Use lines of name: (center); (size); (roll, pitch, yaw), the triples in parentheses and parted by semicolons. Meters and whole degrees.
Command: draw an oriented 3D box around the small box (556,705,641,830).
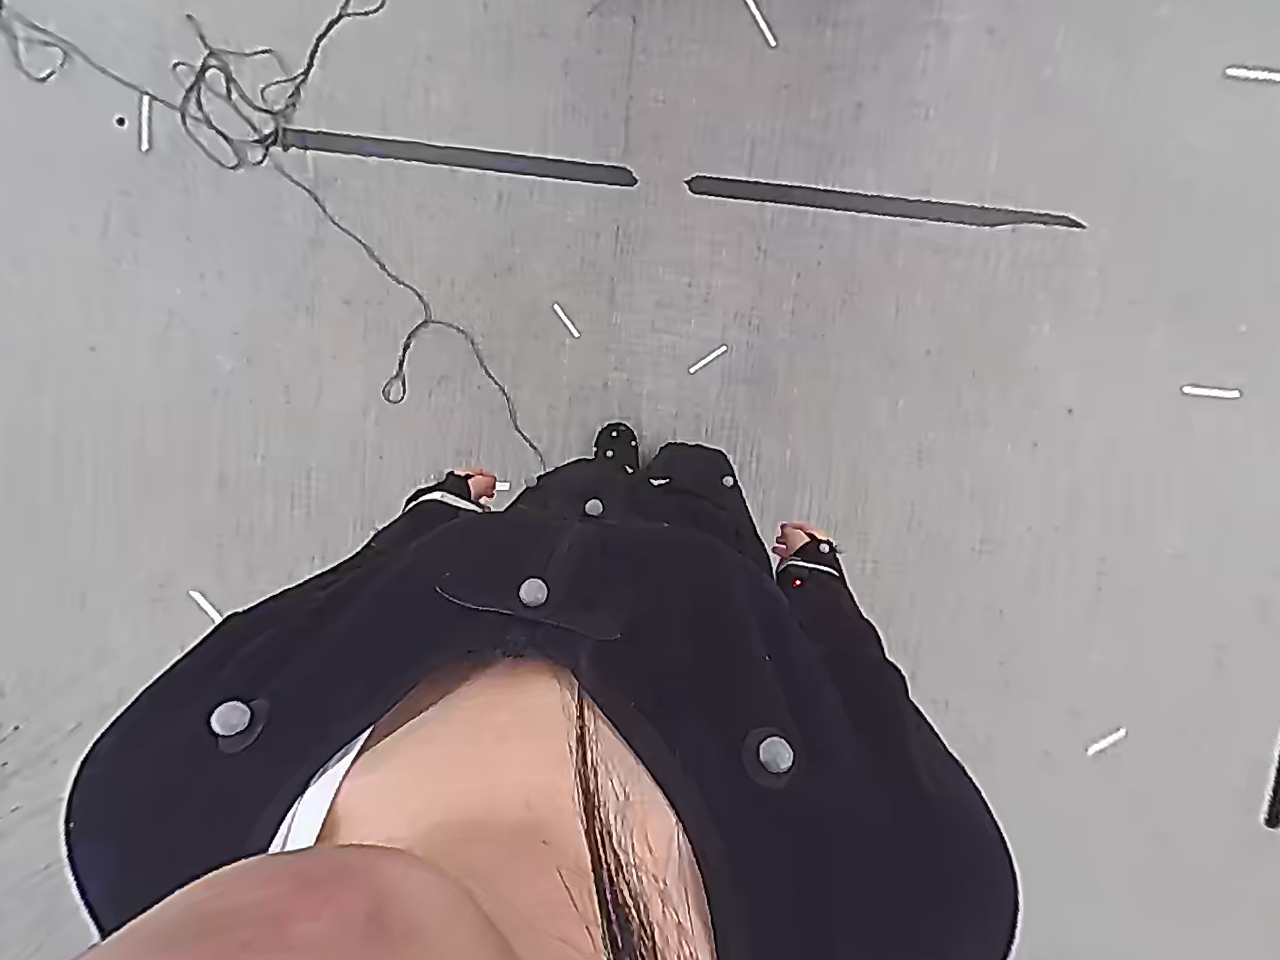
small box: (-0.084, 0.615, 1.170); (0.168, 0.176, 0.179); (2, 95, 0)
